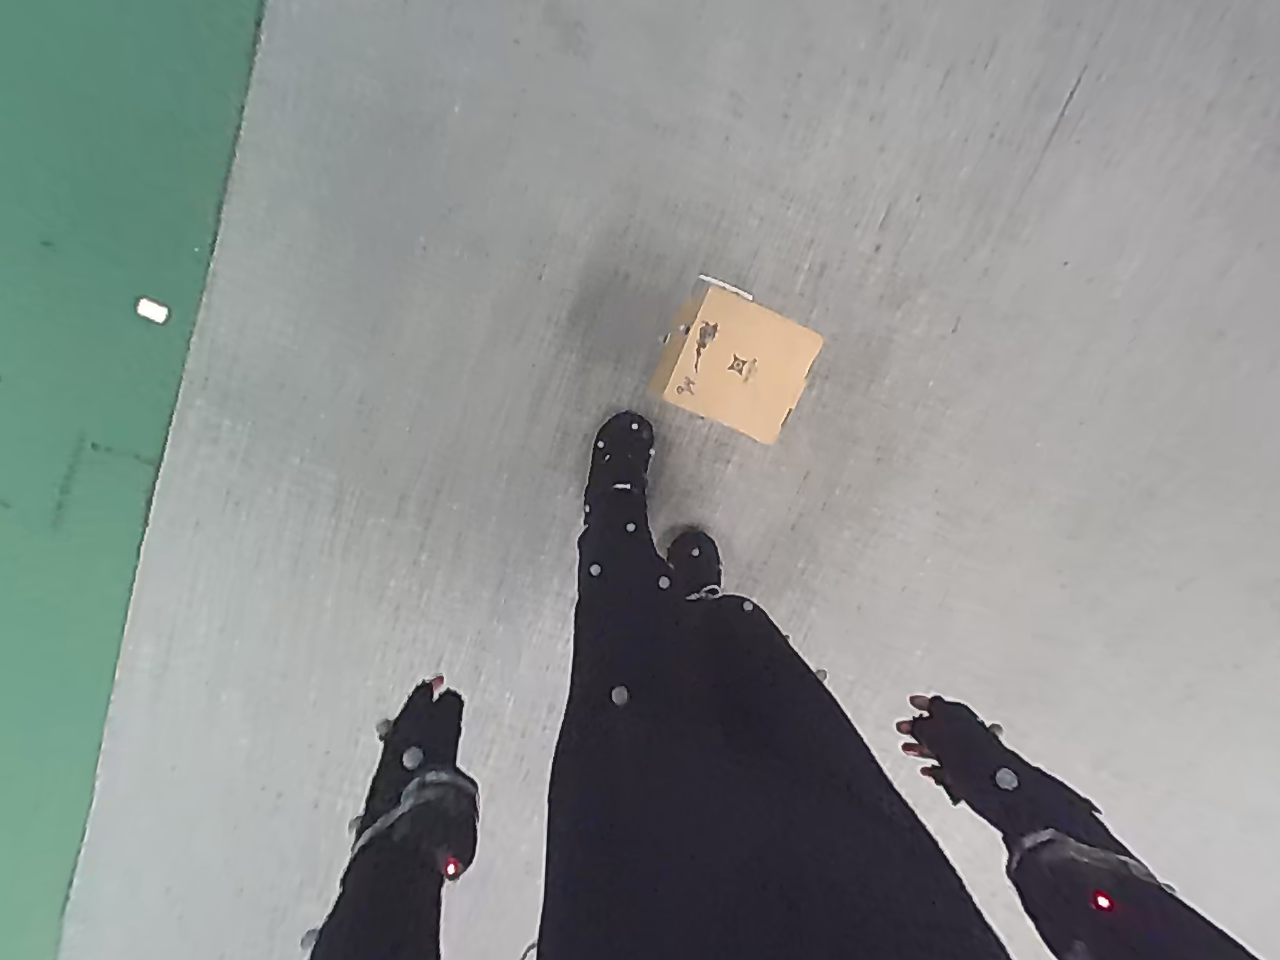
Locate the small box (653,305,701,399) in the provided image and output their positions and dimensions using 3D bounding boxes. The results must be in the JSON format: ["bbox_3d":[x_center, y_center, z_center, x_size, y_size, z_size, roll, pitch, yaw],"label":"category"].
[{"bbox_3d":[0.133,-0.199,0.975,0.179,0.176,0.168,20,100,-5],"label":"small box"}]

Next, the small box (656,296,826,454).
[{"bbox_3d":[0.139,-0.158,0.816,0.179,0.176,0.168,23,100,-8],"label":"small box"}]
